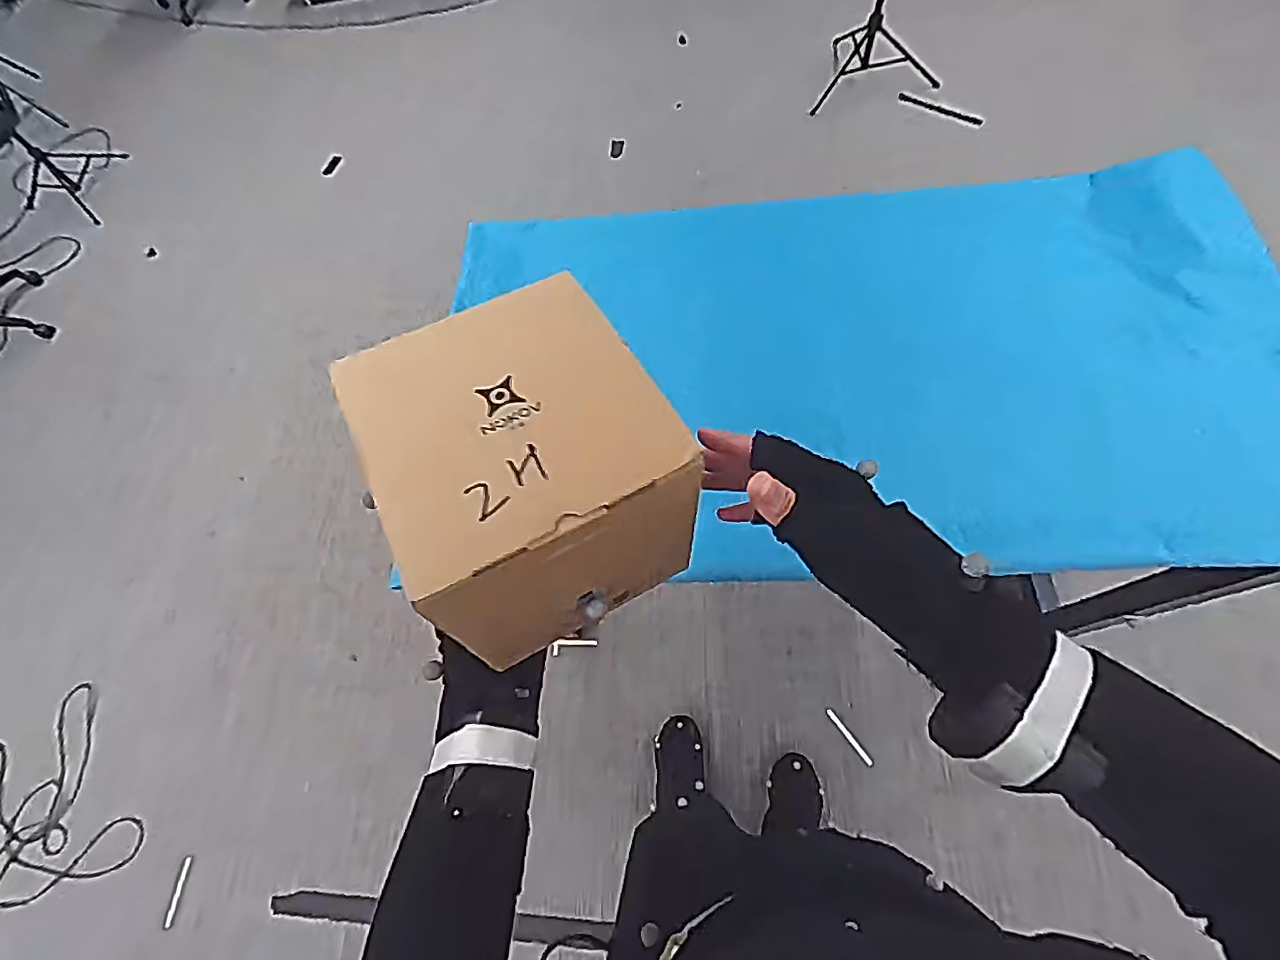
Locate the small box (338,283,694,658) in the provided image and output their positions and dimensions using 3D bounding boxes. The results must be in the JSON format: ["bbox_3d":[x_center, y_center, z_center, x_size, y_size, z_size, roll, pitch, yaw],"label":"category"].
[{"bbox_3d":[-0.078,0.003,0.383,0.168,0.176,0.179,-23,65,-10],"label":"small box"}]
